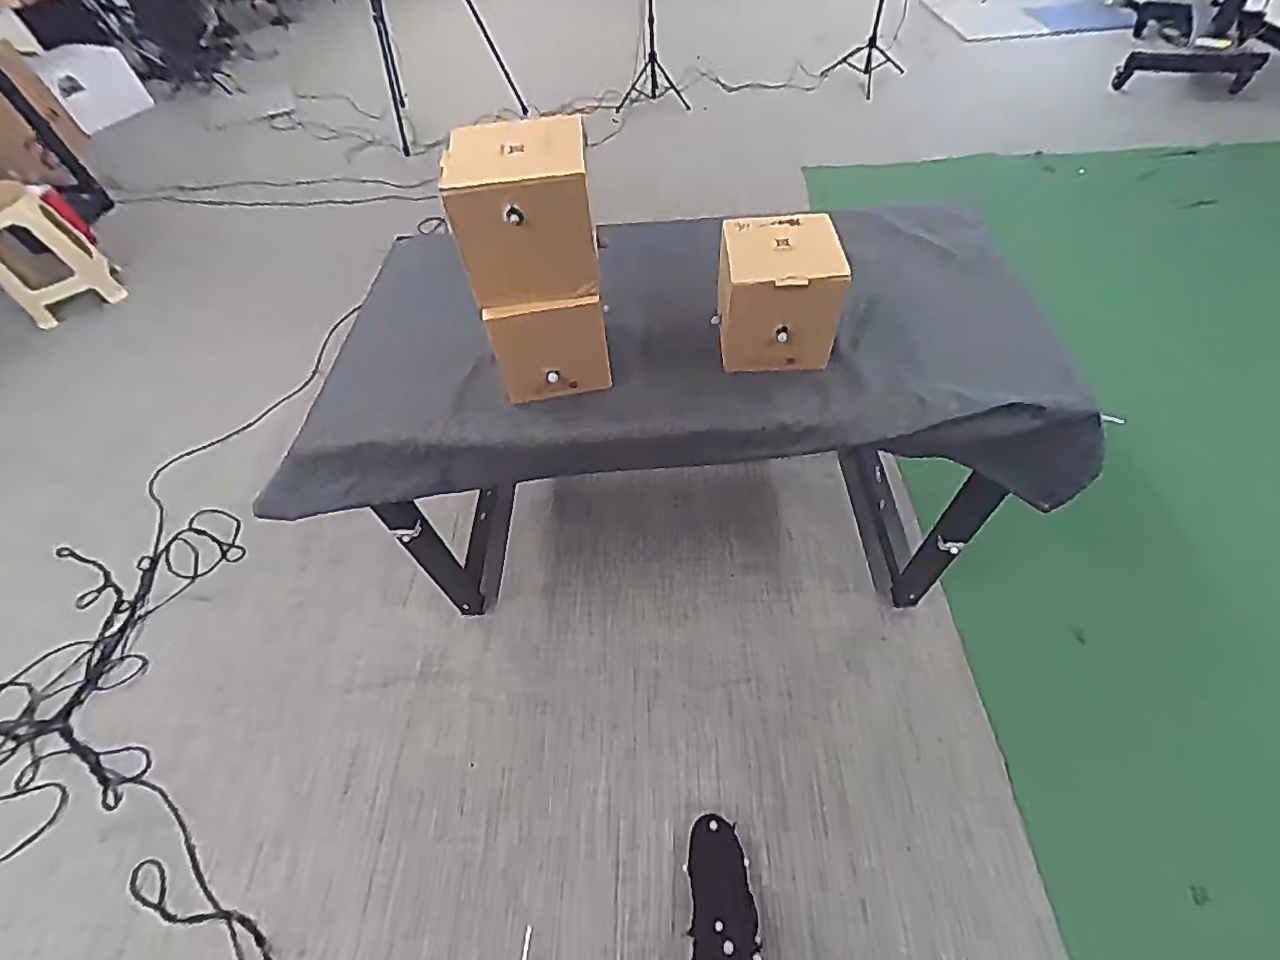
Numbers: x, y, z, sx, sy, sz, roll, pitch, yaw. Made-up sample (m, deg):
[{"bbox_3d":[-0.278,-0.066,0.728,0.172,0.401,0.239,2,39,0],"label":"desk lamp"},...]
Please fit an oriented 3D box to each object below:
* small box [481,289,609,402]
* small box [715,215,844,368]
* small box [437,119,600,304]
[{"bbox_3d":[-0.147,-0.251,0.859,0.168,0.176,0.179,-10,54,-3],"label":"small box"},{"bbox_3d":[0.210,-0.293,0.865,0.168,0.176,0.179,-2,54,3],"label":"small box"},{"bbox_3d":[-0.153,-0.359,0.738,0.179,0.176,0.168,-6,55,-1],"label":"small box"}]
